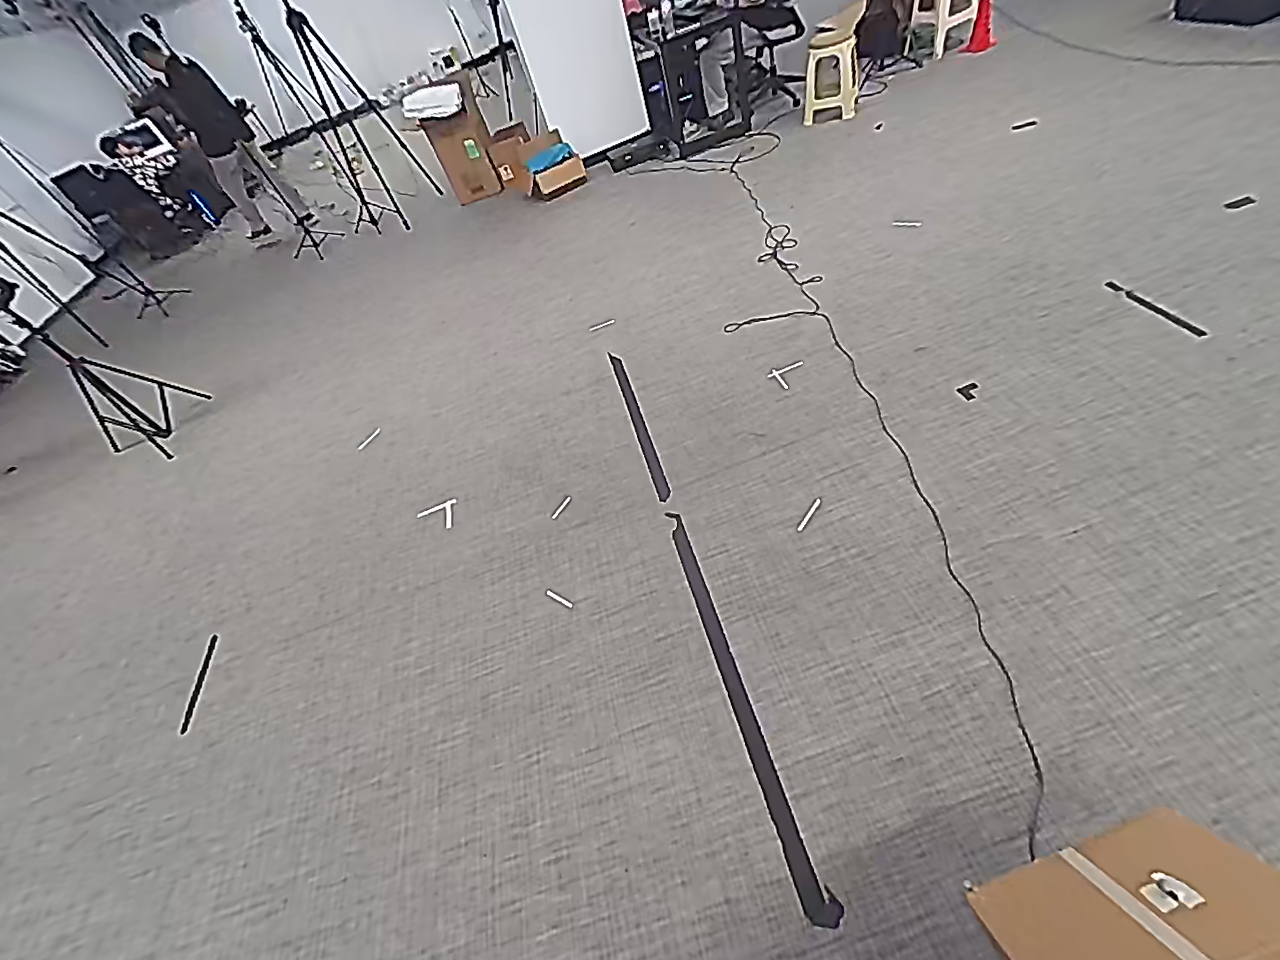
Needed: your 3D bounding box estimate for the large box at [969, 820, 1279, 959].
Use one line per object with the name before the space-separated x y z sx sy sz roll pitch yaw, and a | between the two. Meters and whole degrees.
large box | 0.655 0.654 0.558 0.320 0.408 0.320 -25 79 3
